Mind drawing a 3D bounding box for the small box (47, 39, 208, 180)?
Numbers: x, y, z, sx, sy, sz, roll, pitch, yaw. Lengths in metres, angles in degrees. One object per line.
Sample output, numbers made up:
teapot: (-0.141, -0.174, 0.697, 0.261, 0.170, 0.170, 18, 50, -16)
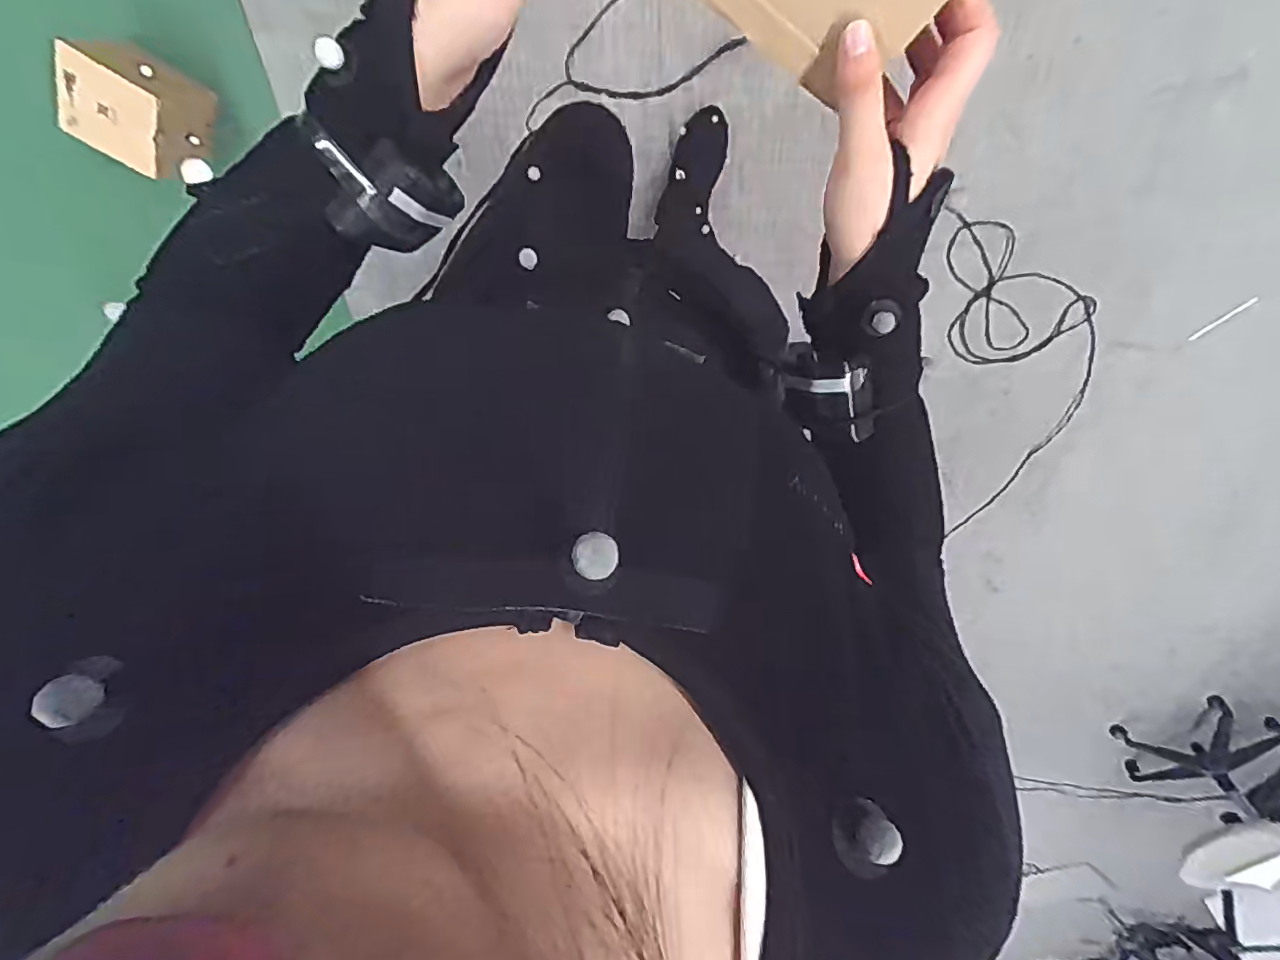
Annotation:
small box: (-1.025, -0.750, 1.095, 0.179, 0.176, 0.168, 28, 123, -18)
